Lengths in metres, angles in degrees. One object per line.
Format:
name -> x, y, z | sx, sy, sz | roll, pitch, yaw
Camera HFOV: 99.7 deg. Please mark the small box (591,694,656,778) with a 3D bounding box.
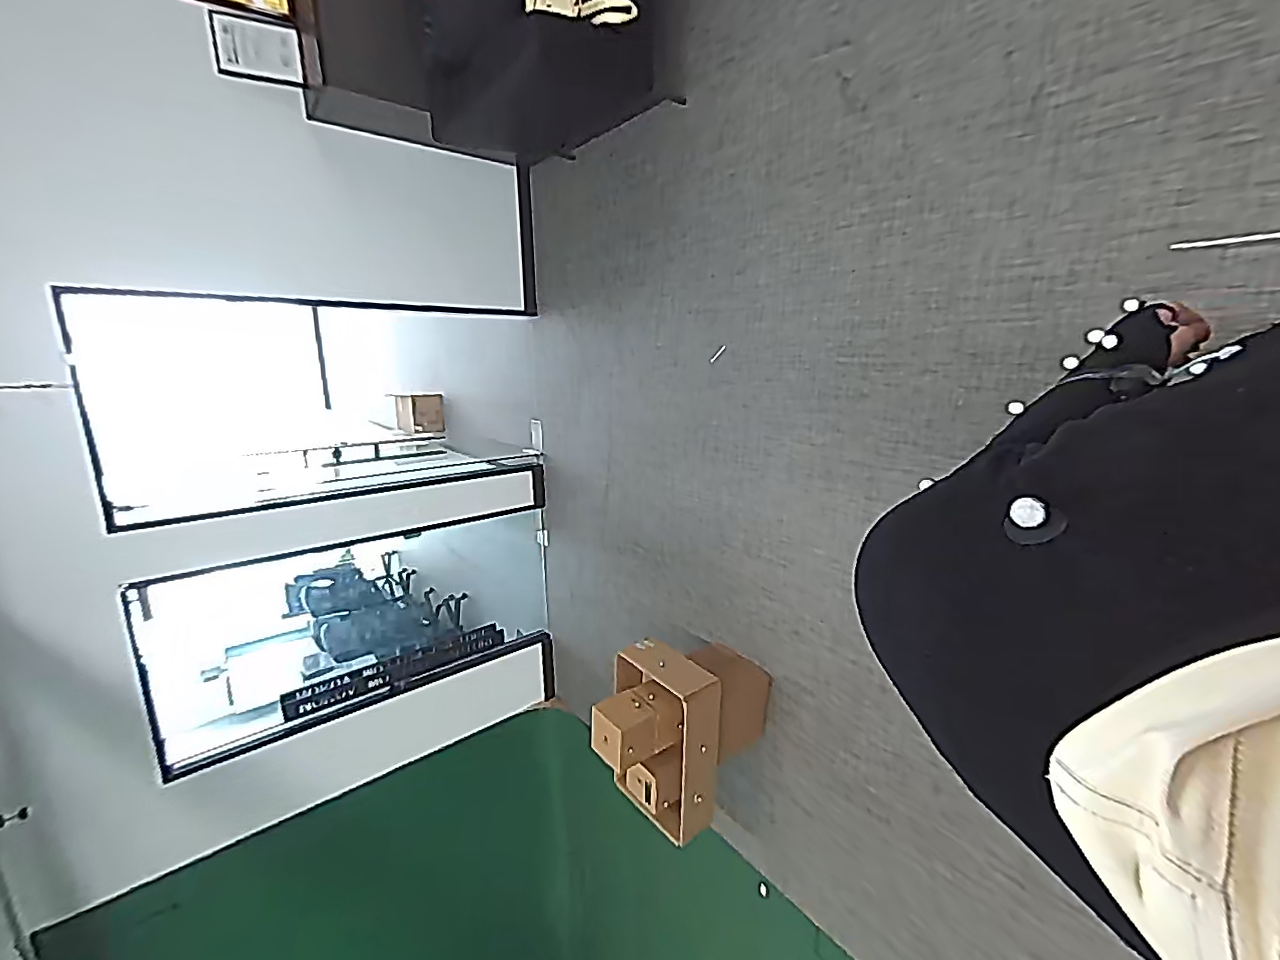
small box -> -0.058, 0.893, 1.906 | 0.168, 0.176, 0.179 | 18, 111, 46
